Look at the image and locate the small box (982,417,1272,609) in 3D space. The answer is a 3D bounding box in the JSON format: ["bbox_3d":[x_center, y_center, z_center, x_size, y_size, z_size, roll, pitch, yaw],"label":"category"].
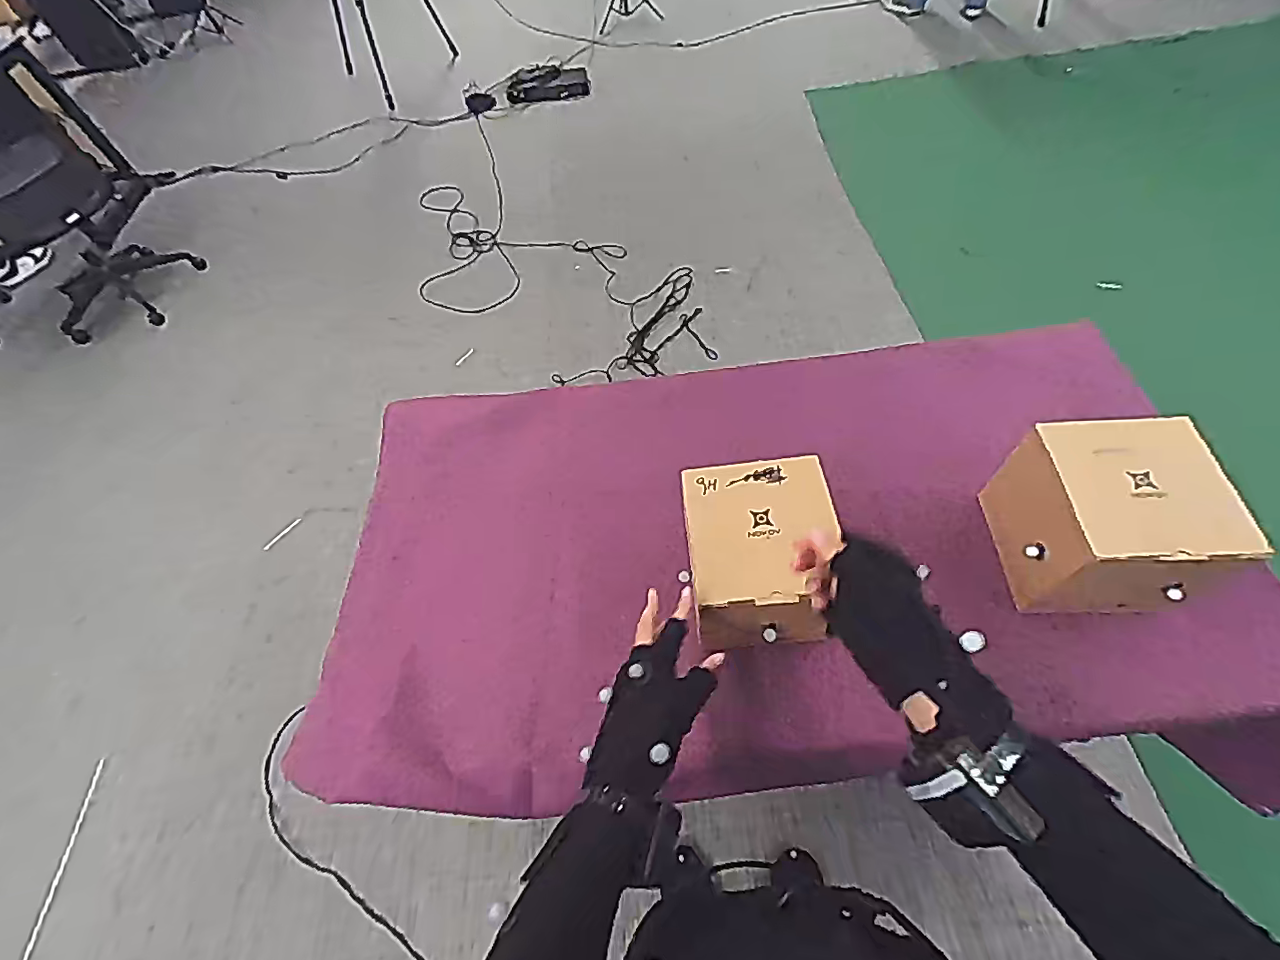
[{"bbox_3d":[0.547,0.047,0.645,0.168,0.176,0.179,-2,57,7],"label":"small box"}]

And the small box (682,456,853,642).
[{"bbox_3d":[0.145,0.094,0.671,0.168,0.176,0.179,-6,58,4],"label":"small box"}]
